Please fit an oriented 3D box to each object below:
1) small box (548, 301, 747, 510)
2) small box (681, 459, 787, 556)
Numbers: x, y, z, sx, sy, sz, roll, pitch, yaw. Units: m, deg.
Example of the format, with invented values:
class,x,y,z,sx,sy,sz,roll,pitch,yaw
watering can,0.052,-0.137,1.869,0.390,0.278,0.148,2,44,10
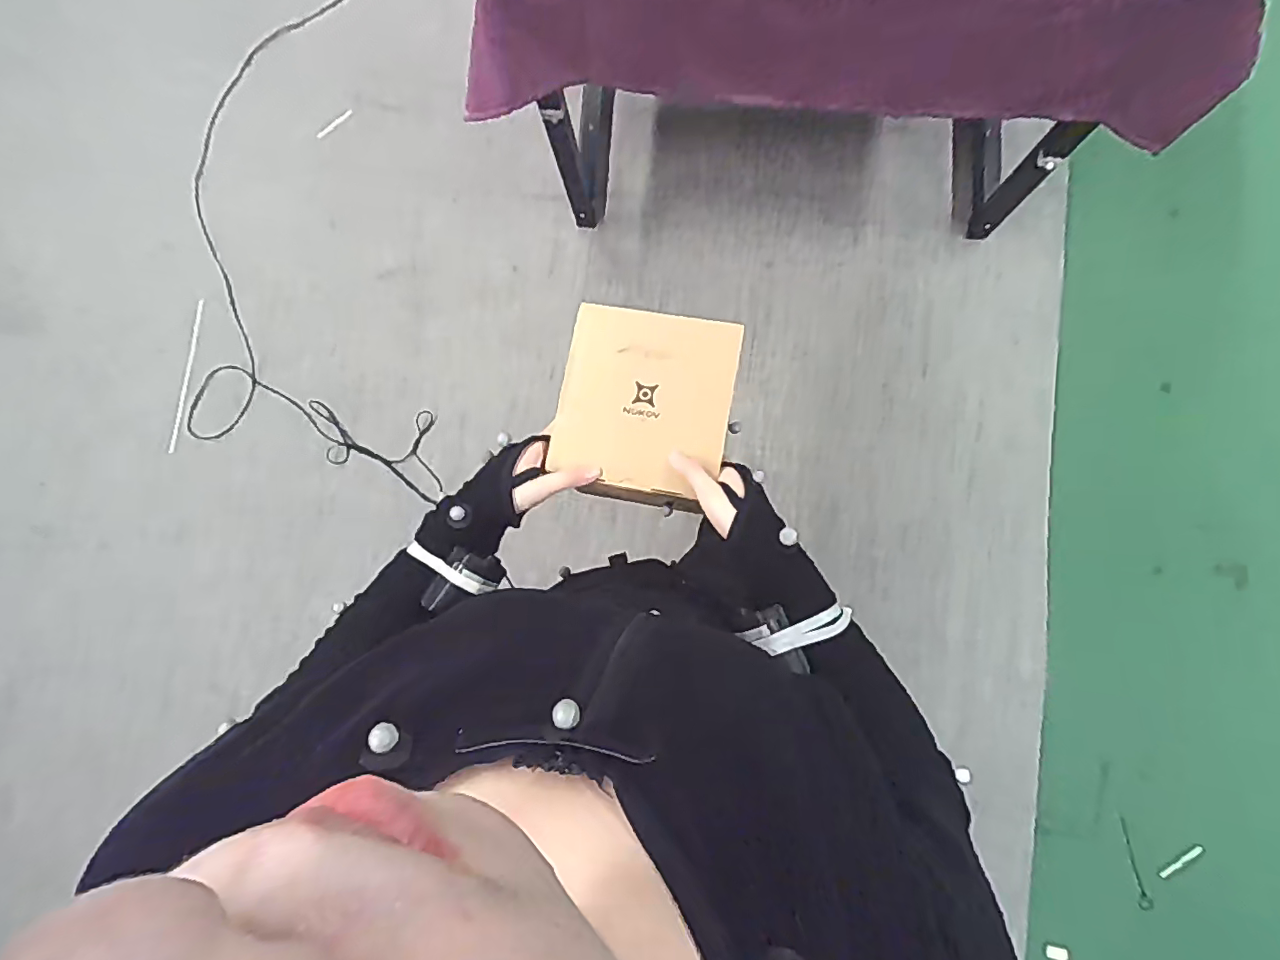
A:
class,x,y,z,sx,sy,sz,roll,pitch,yaw
small box,0.016,-0.069,0.598,0.168,0.176,0.179,11,83,7
small box,0.232,0.071,1.377,0.179,0.176,0.168,-14,64,-25
